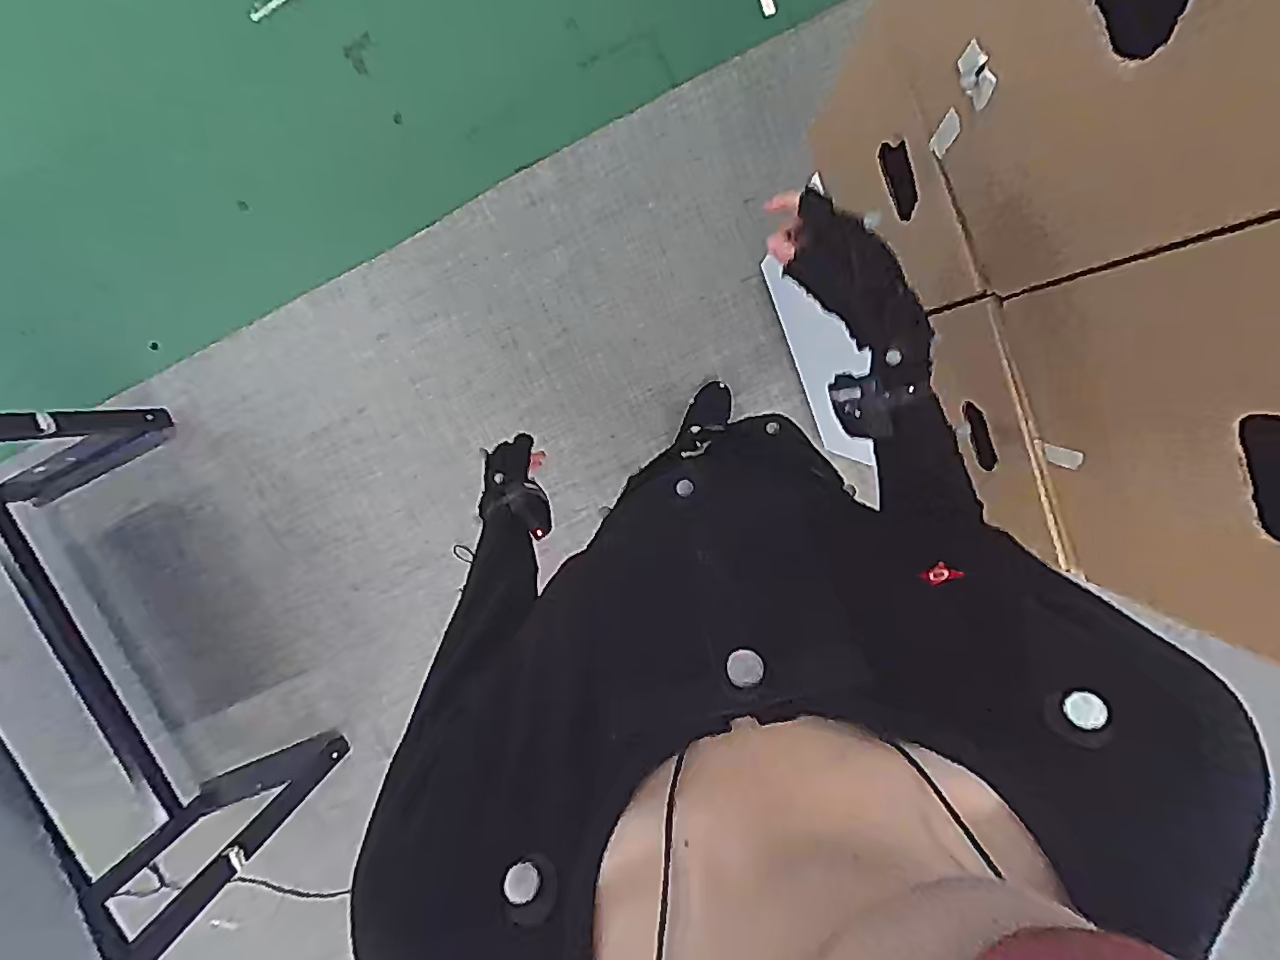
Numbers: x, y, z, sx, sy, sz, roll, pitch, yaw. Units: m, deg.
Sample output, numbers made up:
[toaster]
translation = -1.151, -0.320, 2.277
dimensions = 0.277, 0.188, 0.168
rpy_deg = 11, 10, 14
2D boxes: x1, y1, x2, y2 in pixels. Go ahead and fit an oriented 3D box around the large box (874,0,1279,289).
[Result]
[large box]
translation = 0.445, -0.383, 0.344
dimensions = 0.408, 0.320, 0.320
rpy_deg = -26, 96, 6
